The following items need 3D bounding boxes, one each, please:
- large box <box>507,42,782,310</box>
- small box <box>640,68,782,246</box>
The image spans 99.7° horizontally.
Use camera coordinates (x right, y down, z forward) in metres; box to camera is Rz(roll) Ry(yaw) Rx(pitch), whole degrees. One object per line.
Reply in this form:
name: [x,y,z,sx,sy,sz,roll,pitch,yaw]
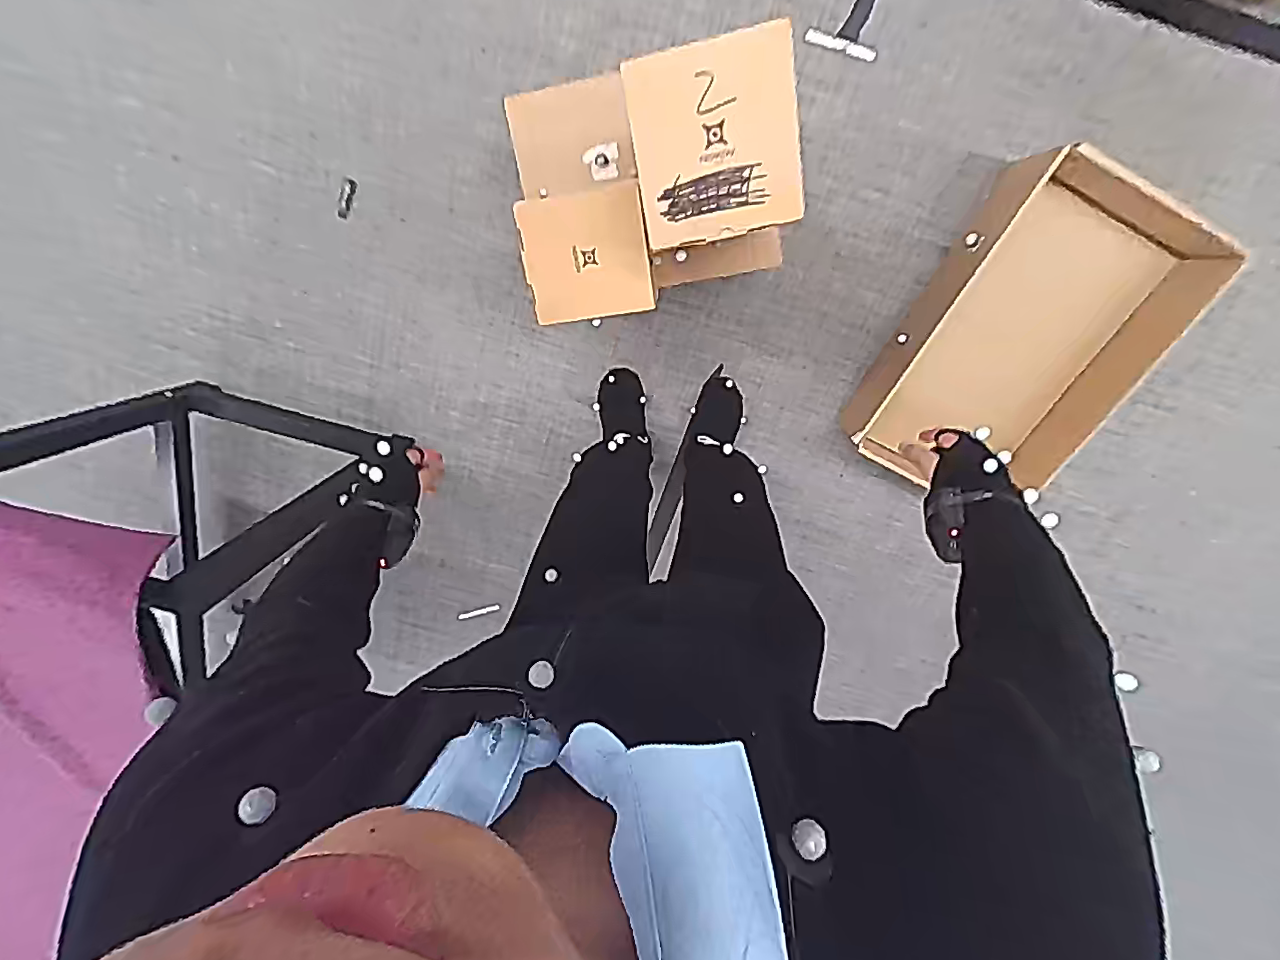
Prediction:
large box: [0.027,-0.526,1.000,0.408,0.320,0.320,-7,112,9]
small box: [0.099,-0.438,0.764,0.168,0.176,0.179,-8,113,10]
